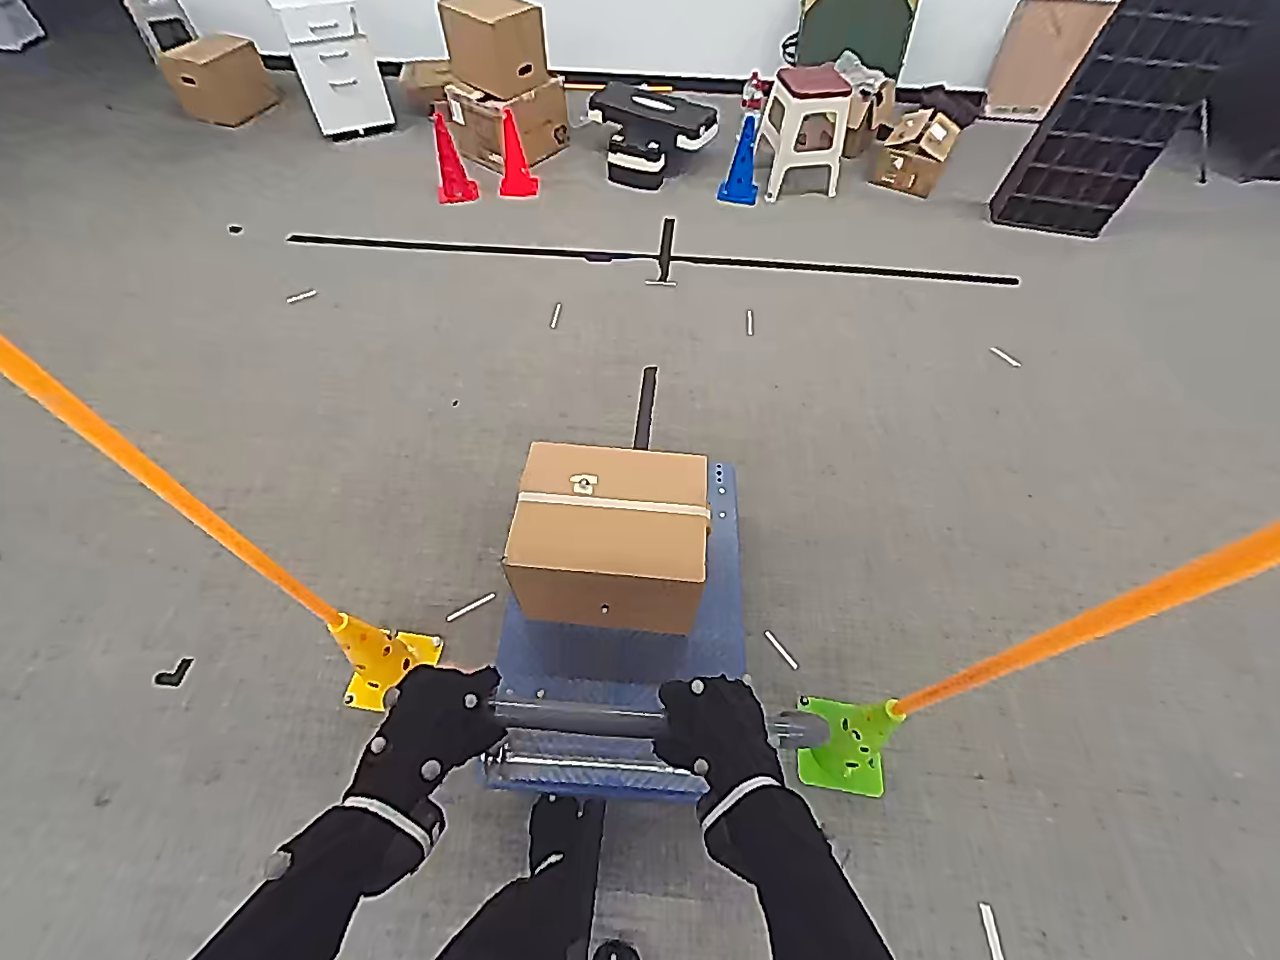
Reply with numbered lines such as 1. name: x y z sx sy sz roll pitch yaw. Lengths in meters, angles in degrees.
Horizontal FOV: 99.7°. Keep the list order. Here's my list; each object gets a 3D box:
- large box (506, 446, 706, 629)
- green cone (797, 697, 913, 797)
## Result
1. large box: -0.058 0.144 1.275 0.408 0.320 0.320 5 55 3
2. green cone: 0.491 0.549 1.180 0.202 0.368 0.200 9 55 3
